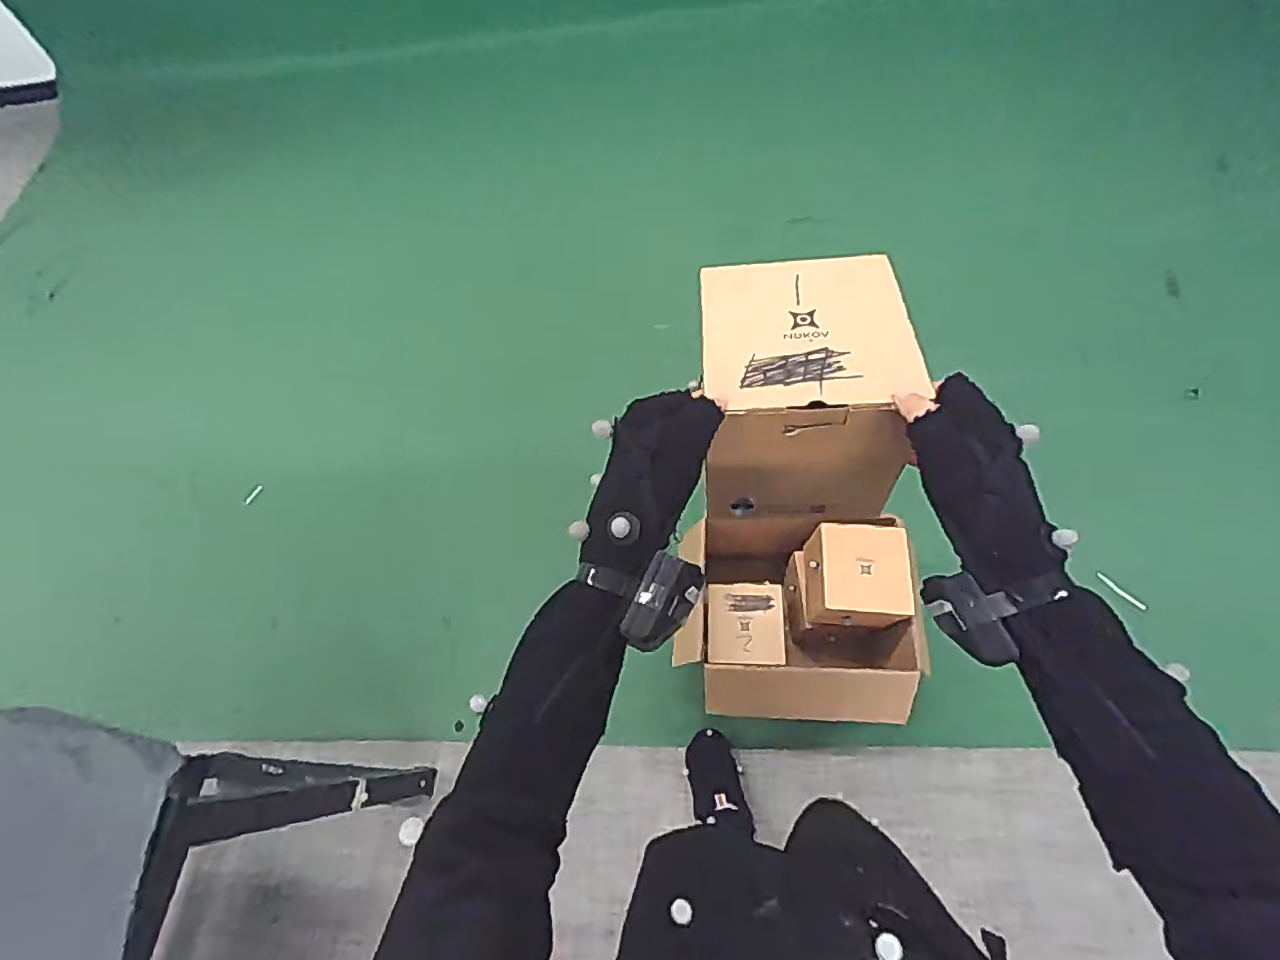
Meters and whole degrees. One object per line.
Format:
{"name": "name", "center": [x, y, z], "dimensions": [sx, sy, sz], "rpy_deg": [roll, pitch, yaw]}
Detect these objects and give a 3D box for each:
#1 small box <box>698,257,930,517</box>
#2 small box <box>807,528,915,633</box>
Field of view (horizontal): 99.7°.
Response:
{"name": "small box", "center": [0.140, -0.076, 0.501], "dimensions": [0.168, 0.176, 0.179], "rpy_deg": [-1, 56, 7]}
{"name": "small box", "center": [0.443, 0.212, 1.111], "dimensions": [0.168, 0.176, 0.179], "rpy_deg": [3, 65, 6]}
